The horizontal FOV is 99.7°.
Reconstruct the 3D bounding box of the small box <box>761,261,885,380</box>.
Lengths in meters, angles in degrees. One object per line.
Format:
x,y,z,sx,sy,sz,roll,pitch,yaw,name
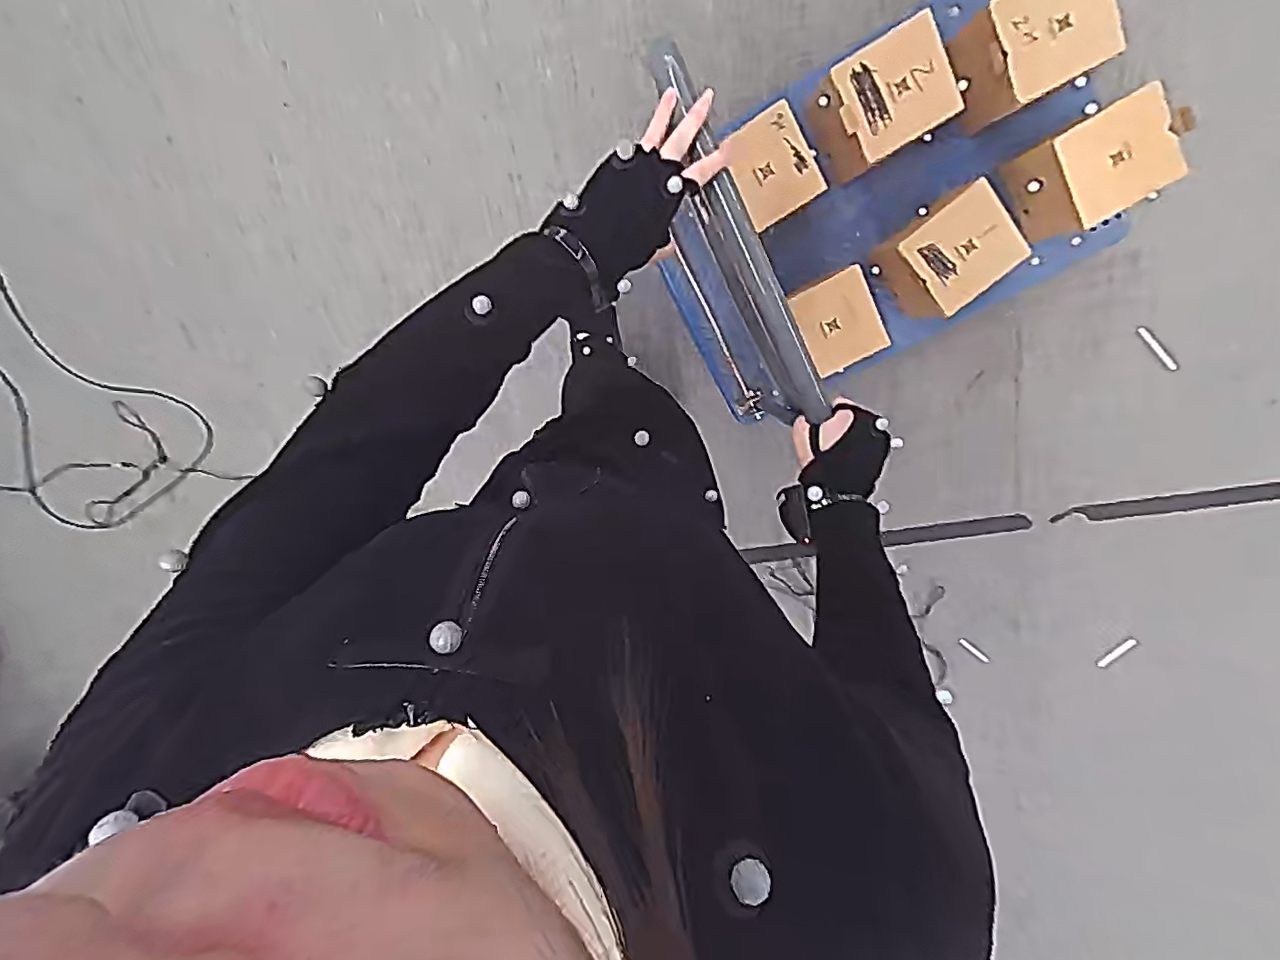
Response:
0.360,-0.322,1.102,0.179,0.176,0.168,-26,104,10,small box

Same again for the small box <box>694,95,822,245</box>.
0.215,-0.573,1.031,0.179,0.176,0.168,-29,104,11,small box

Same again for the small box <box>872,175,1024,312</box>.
0.580,-0.445,1.052,0.179,0.176,0.168,-38,101,12,small box

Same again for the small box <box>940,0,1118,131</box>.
0.671,-0.759,0.950,0.179,0.176,0.168,-24,104,11,small box

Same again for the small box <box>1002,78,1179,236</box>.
0.813,-0.578,1.000,0.179,0.176,0.168,-29,103,11,small box
